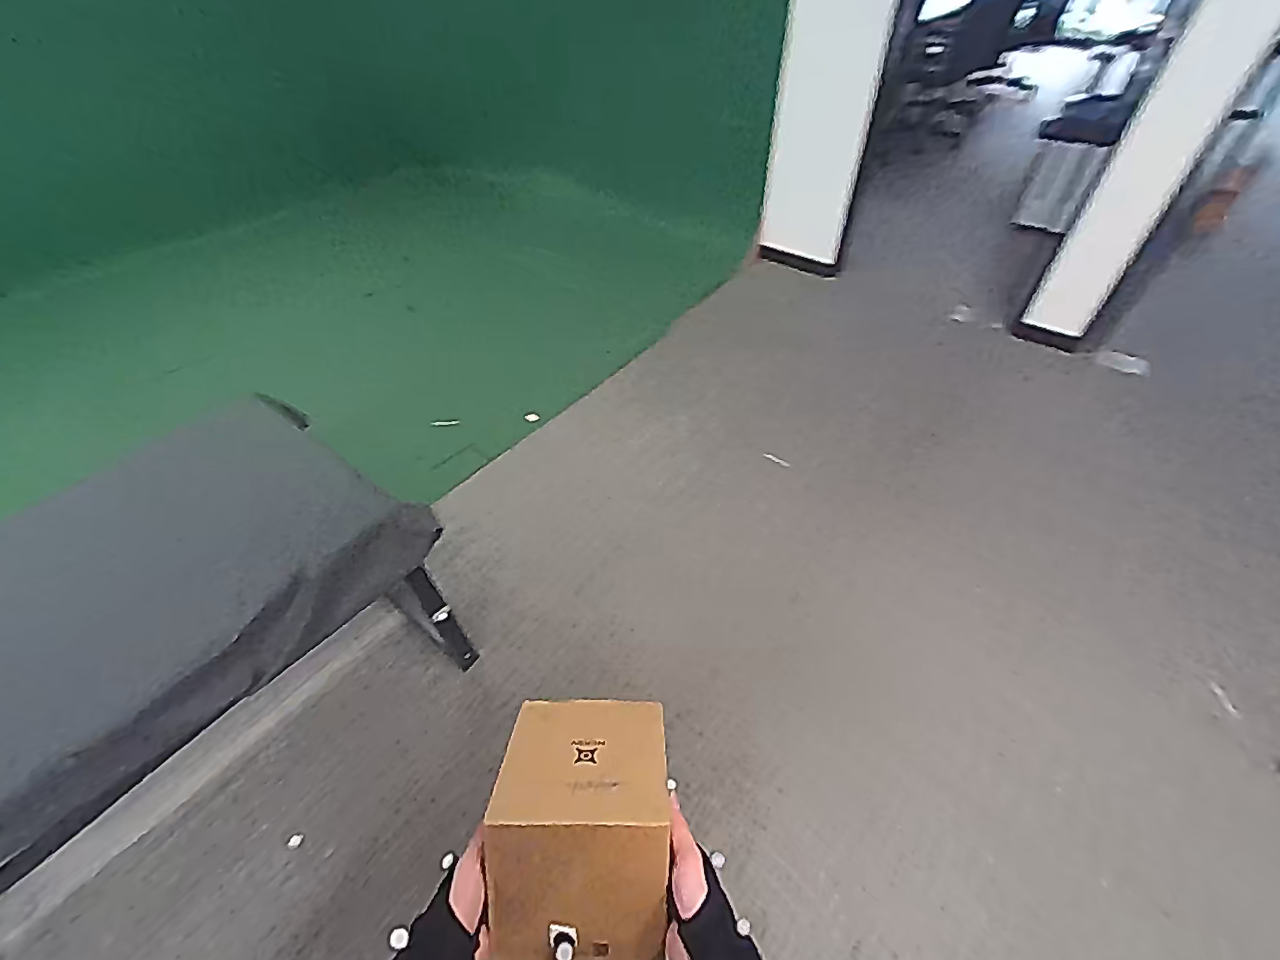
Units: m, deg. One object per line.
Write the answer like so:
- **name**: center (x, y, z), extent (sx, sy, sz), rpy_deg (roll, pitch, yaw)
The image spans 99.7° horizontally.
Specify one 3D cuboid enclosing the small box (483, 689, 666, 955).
- **small box**: center (-0.062, 0.348, 0.575), extent (0.168, 0.176, 0.179), rpy_deg (1, 14, -2)
